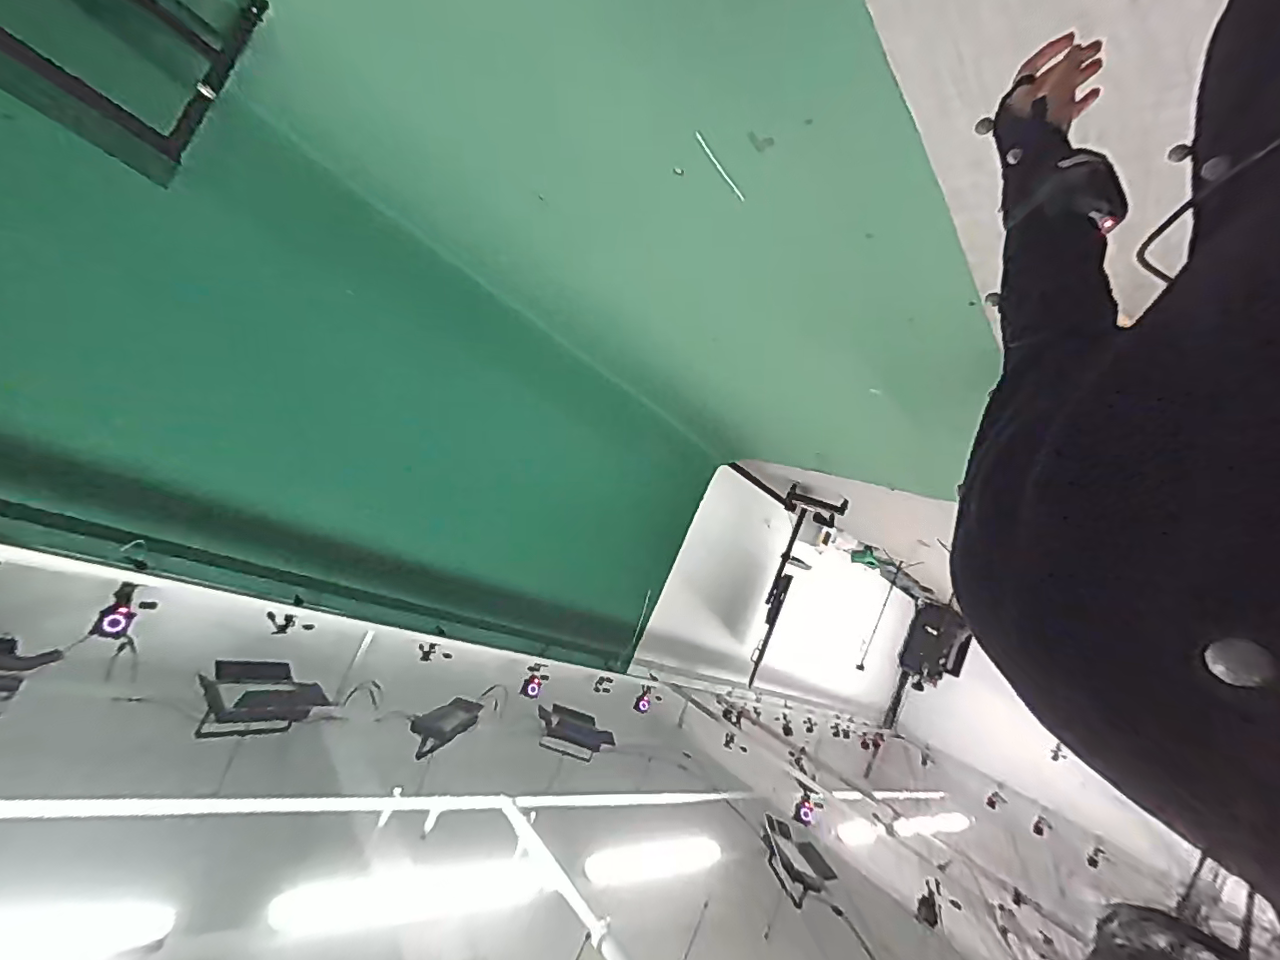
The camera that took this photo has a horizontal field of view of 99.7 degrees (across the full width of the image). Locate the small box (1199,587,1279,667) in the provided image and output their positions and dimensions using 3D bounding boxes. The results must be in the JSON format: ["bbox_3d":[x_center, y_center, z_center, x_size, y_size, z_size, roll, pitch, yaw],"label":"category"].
[{"bbox_3d":[1.756,0.415,1.542,0.168,0.176,0.179,19,172,34],"label":"small box"}]
